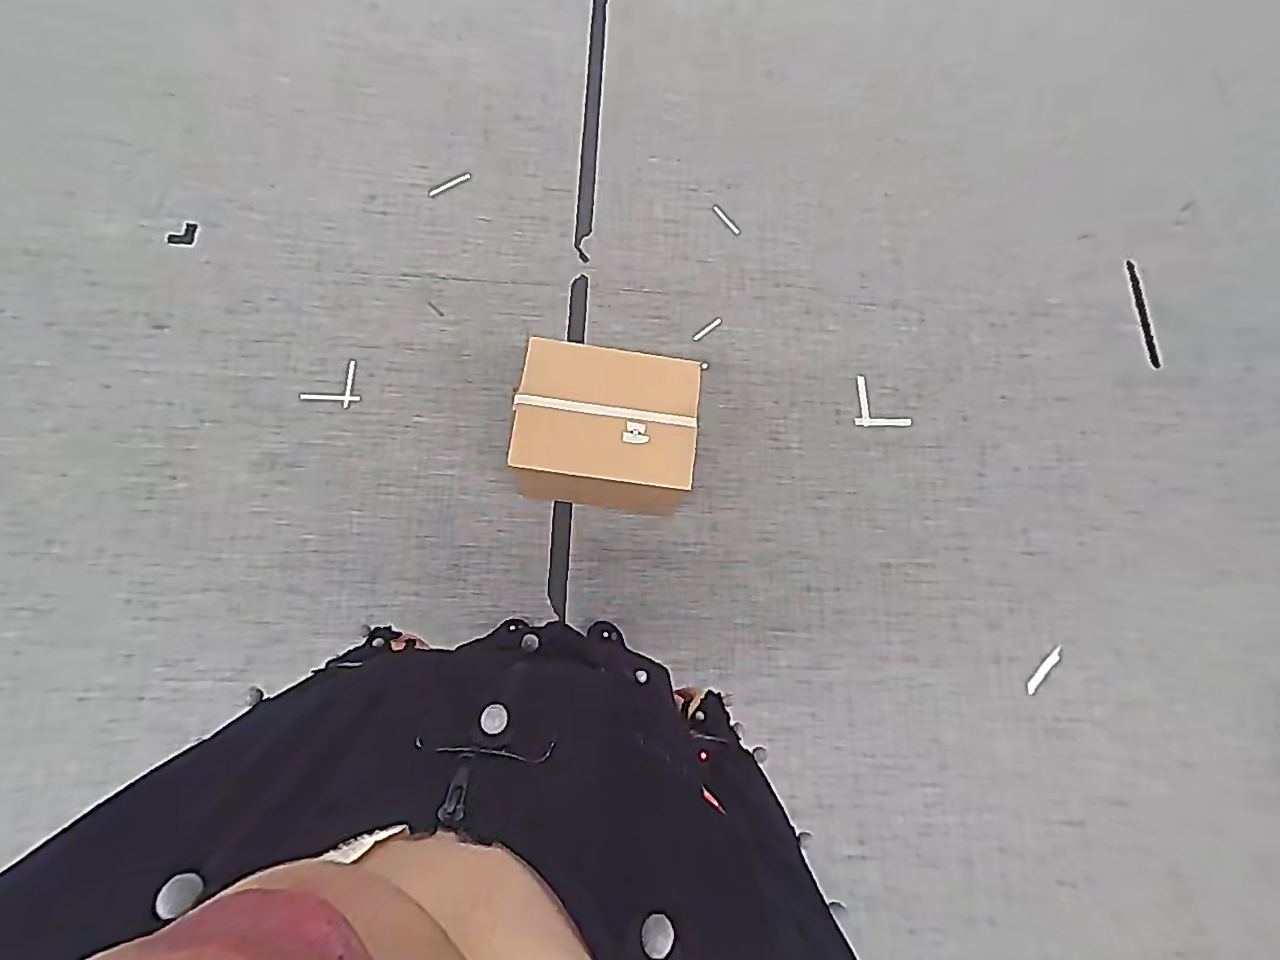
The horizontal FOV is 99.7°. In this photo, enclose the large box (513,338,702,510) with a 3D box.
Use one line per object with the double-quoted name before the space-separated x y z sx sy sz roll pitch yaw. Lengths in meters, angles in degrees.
"large box" -0.083 -0.121 1.355 0.408 0.320 0.320 8 76 -5
